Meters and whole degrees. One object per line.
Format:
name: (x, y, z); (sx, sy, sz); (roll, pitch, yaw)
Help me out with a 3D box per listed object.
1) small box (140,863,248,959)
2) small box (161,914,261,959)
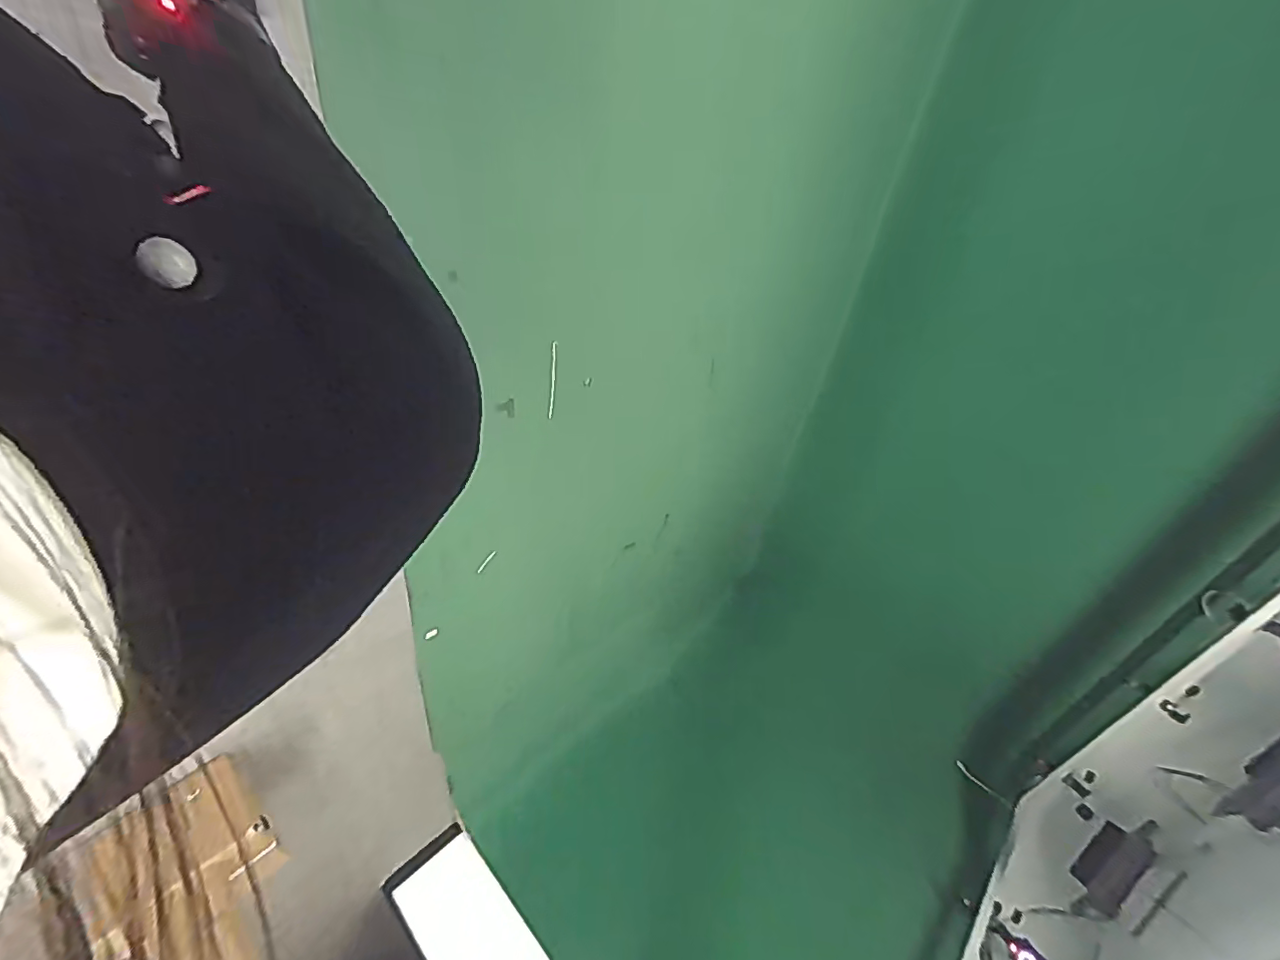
small box: (-1.272, 1.251, 1.544); (0.179, 0.176, 0.168); (-29, 139, -37)
small box: (-1.156, 1.326, 1.457); (0.168, 0.176, 0.179); (-32, 141, -36)
